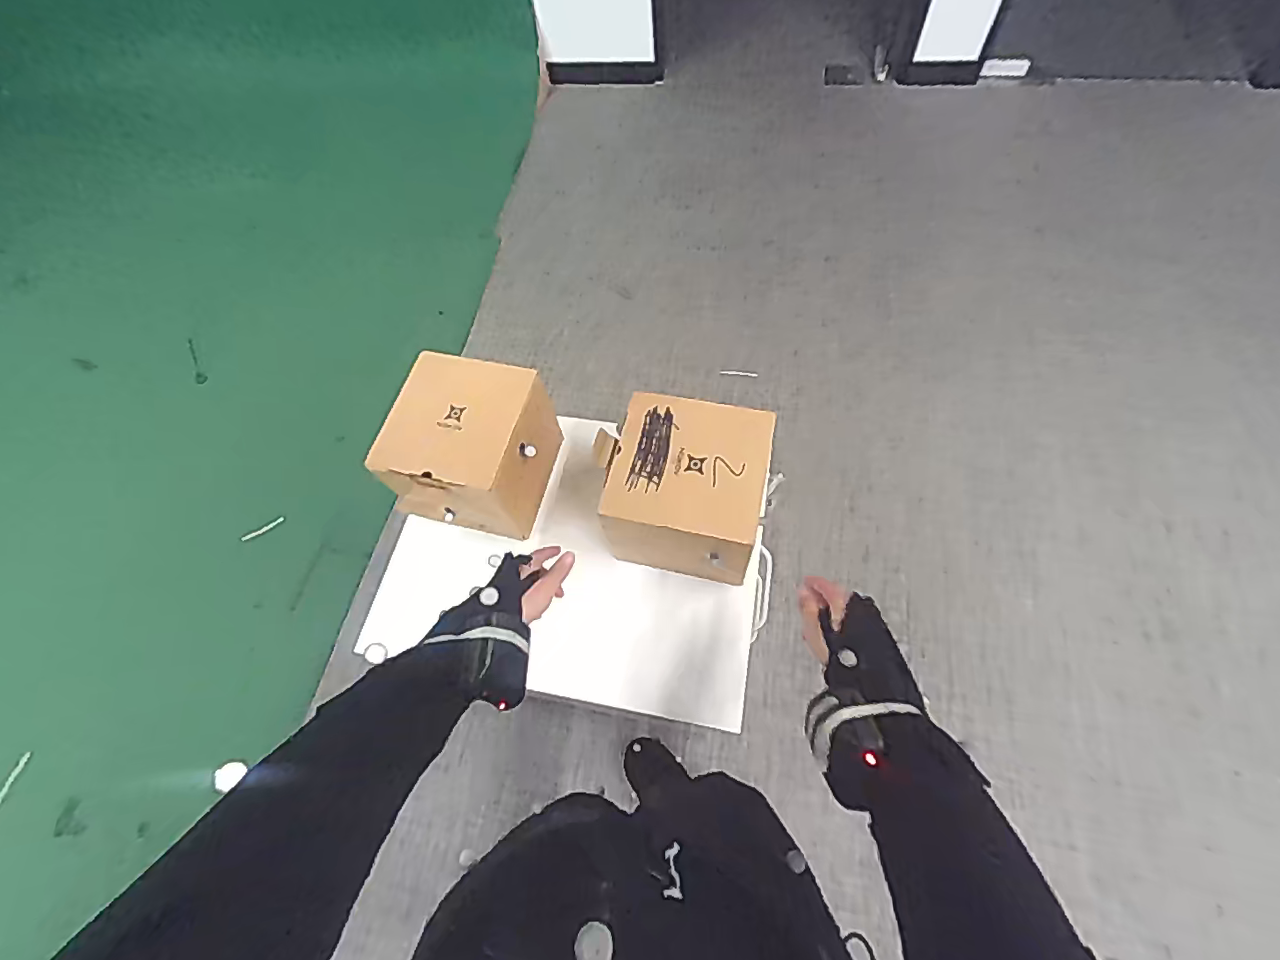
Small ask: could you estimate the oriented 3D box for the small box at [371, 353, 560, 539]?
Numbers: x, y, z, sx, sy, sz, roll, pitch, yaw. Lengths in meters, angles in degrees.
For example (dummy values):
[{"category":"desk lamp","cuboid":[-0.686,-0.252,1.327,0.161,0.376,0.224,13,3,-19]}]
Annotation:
[{"category":"small box","cuboid":[-0.217,-0.040,0.732,0.168,0.176,0.179,11,66,10]}]
